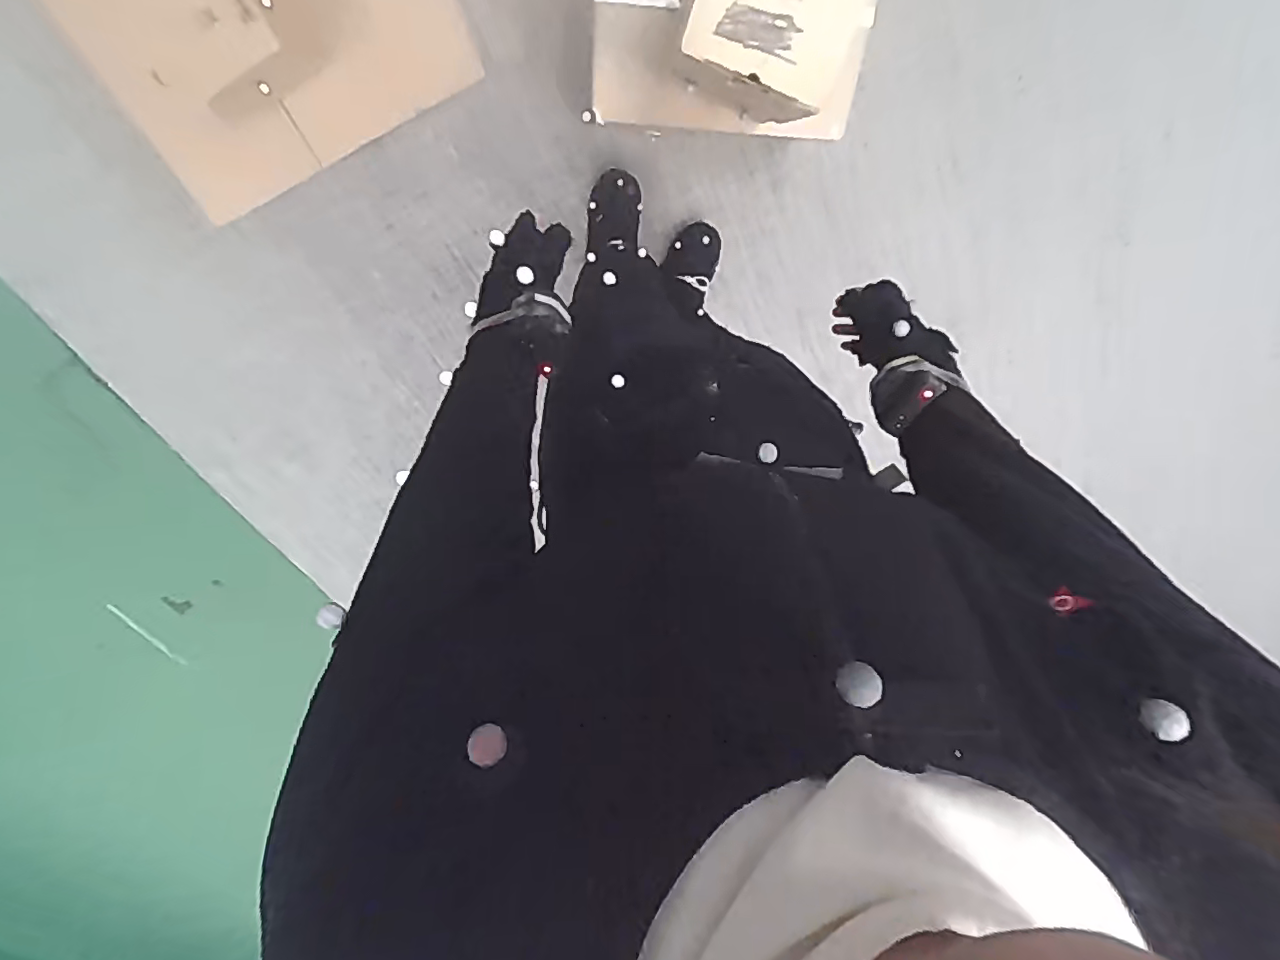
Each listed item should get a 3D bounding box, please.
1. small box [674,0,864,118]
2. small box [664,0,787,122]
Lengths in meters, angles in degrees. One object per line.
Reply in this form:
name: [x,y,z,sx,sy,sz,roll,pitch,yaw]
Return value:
small box: [0.140,-0.525,0.597,0.168,0.176,0.179,14,120,-9]
small box: [0.142,-0.611,0.736,0.179,0.176,0.168,17,118,-9]
